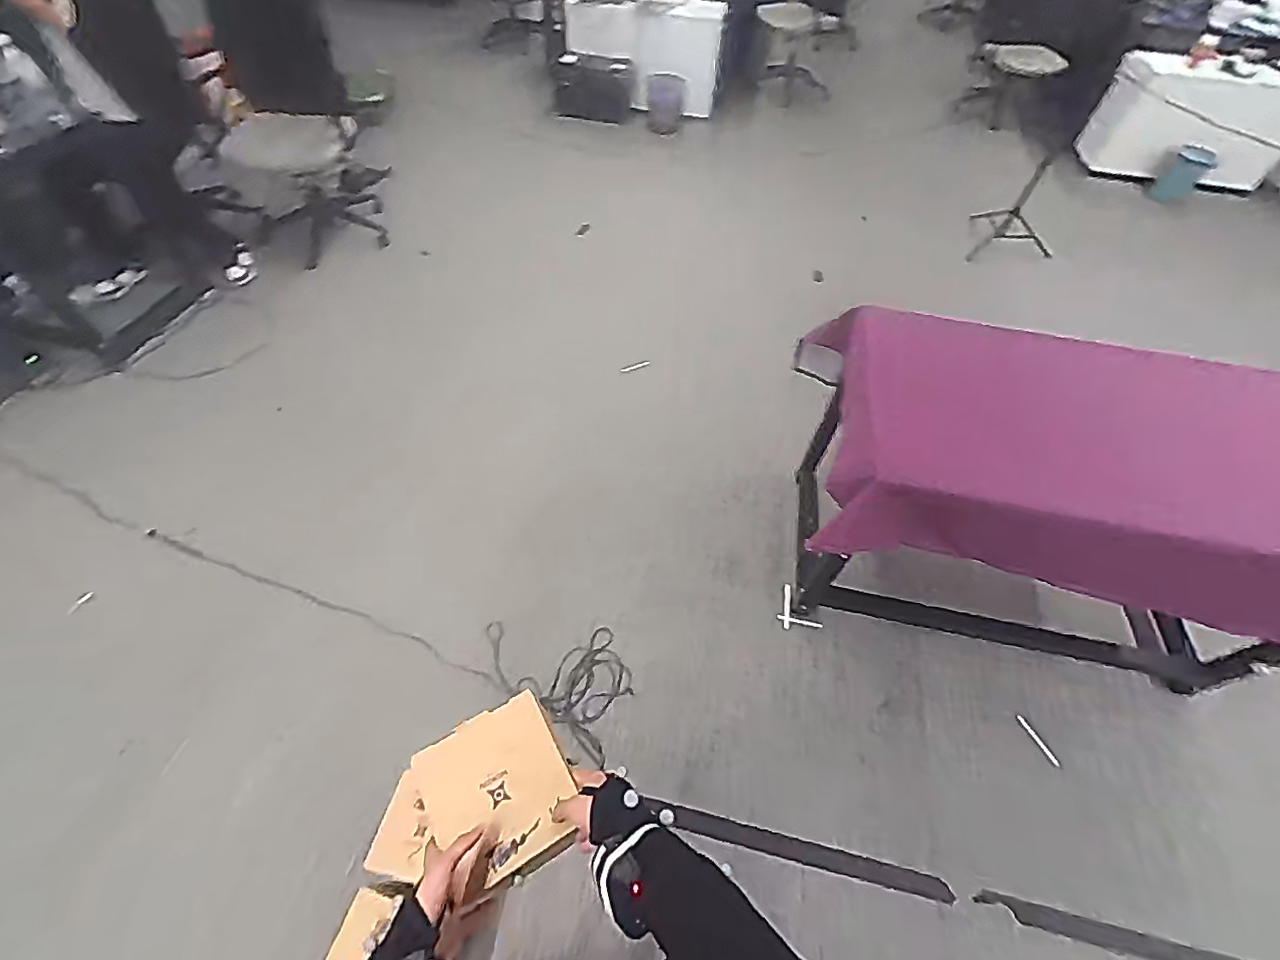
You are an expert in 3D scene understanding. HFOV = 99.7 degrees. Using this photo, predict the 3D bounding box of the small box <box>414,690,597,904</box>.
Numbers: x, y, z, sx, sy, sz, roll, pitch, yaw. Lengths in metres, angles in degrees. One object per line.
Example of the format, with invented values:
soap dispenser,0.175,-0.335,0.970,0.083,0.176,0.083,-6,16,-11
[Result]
small box,-0.169,0.415,0.713,0.168,0.176,0.179,-26,58,-16

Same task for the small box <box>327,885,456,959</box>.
small box,-0.462,0.884,1.006,0.168,0.176,0.179,14,56,8
